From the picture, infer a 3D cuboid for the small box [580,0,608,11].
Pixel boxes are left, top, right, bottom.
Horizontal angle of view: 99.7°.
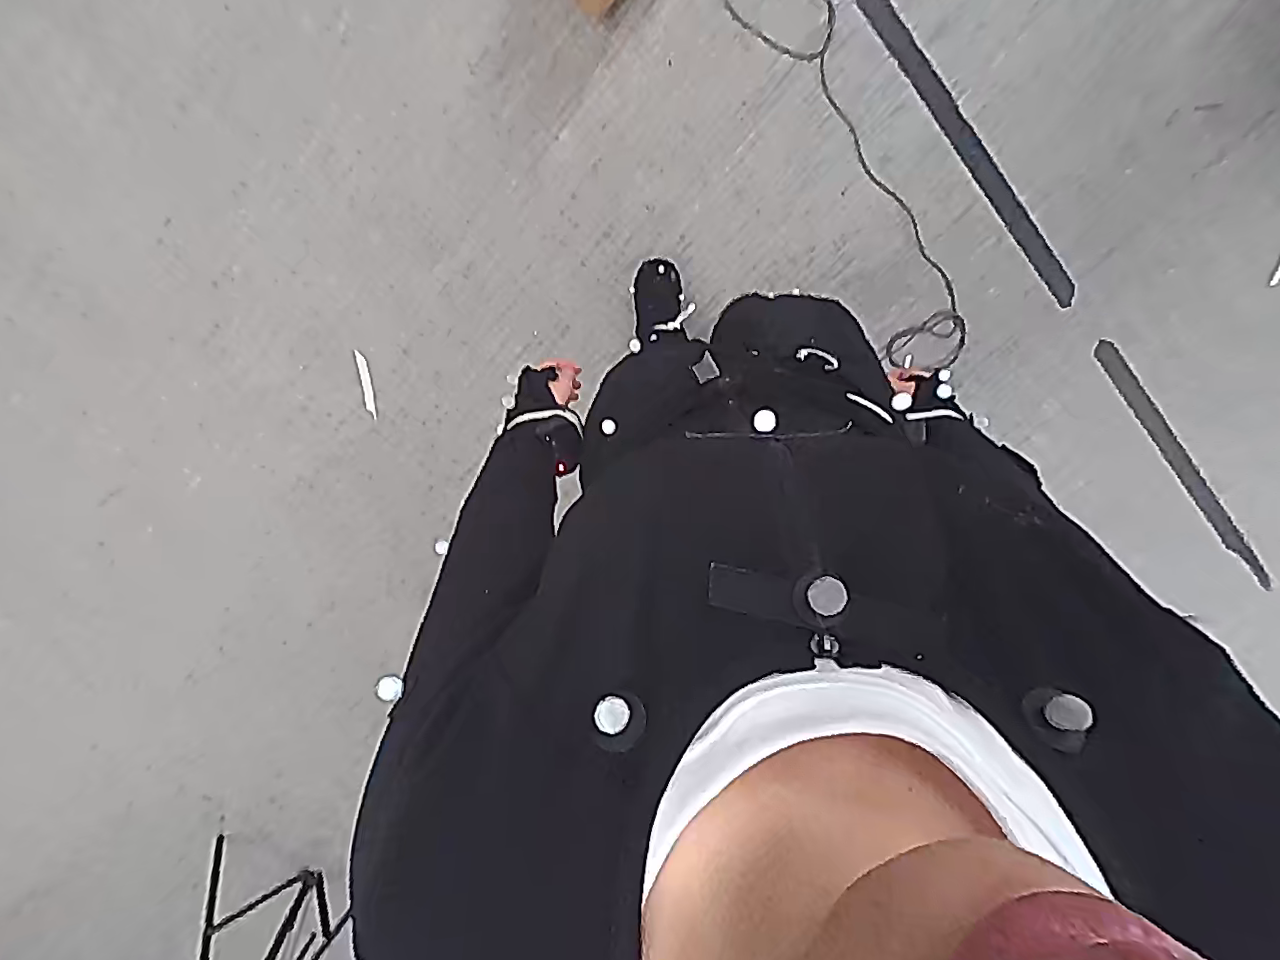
[{"bbox_3d":[-0.091,-0.973,0.928,0.179,0.176,0.168,40,105,-18],"label":"small box"}]
